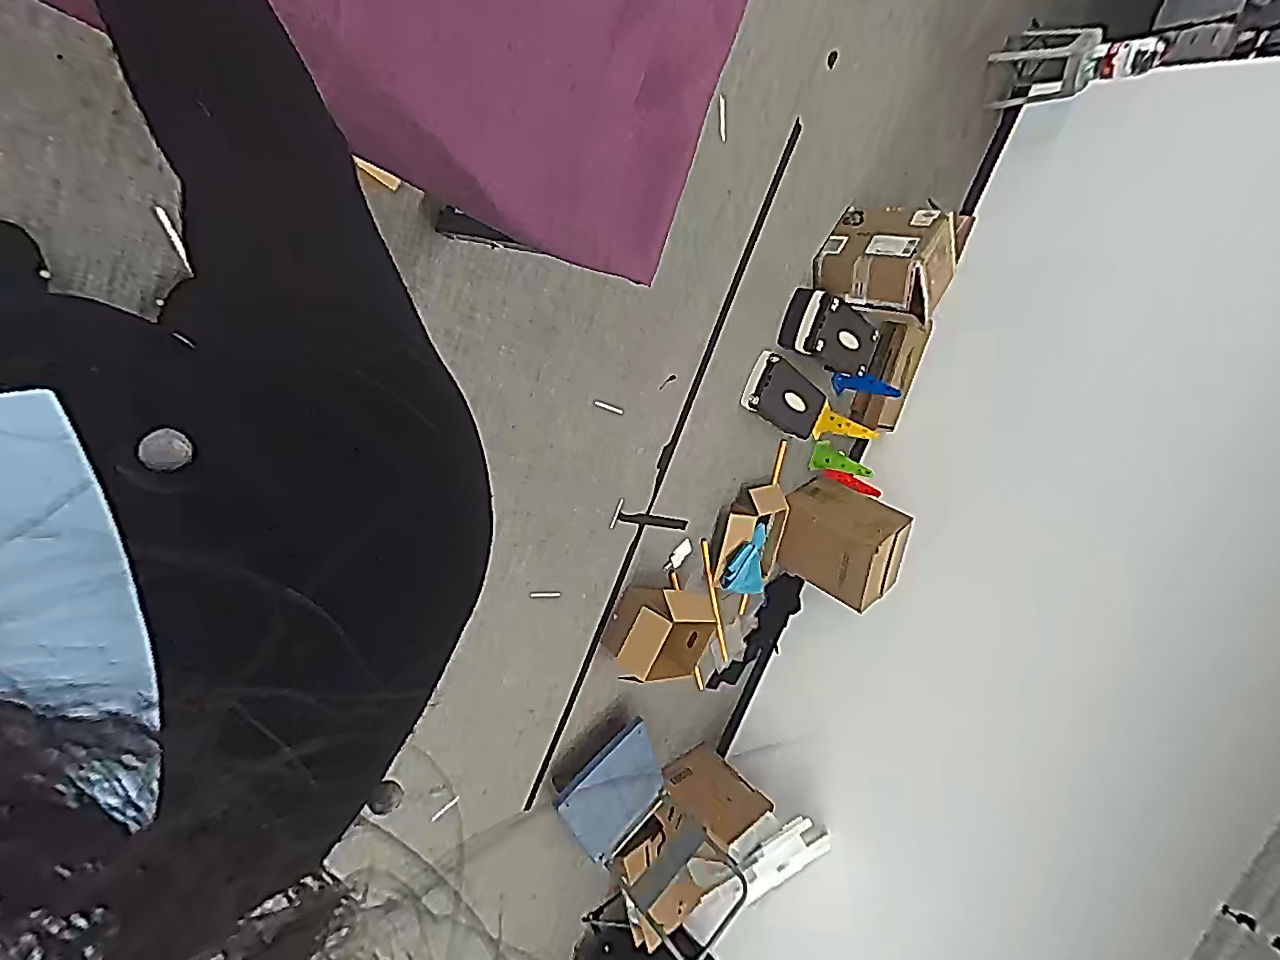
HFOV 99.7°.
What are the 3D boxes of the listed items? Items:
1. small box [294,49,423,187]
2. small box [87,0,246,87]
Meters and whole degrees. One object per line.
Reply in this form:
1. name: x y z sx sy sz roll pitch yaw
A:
1. small box: -0.597 -0.748 1.138 0.168 0.176 0.179 24 93 -51
2. small box: -0.787 -0.795 0.900 0.168 0.176 0.179 13 101 -51
